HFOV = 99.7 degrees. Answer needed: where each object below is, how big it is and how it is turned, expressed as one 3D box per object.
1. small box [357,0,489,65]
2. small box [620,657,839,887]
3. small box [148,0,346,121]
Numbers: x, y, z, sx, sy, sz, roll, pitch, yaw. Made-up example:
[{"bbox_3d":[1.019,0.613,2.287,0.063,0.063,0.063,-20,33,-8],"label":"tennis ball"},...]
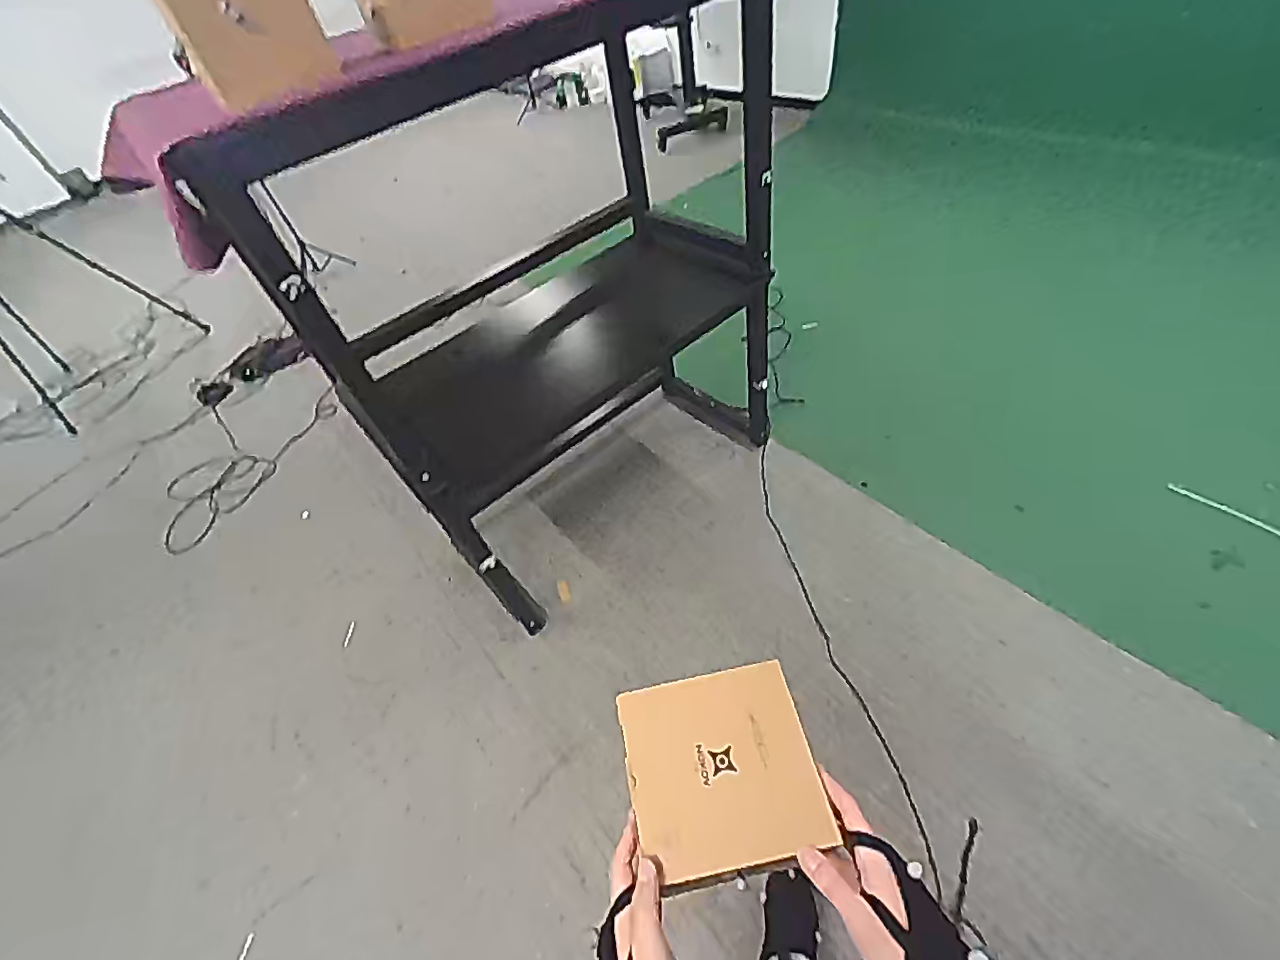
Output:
[{"bbox_3d":[-0.374,-0.821,0.898,0.179,0.176,0.168,-35,49,-17],"label":"small box"},{"bbox_3d":[0.084,0.310,0.569,0.179,0.176,0.168,-10,50,-1],"label":"small box"},{"bbox_3d":[-0.581,-0.658,0.800,0.179,0.176,0.168,-36,51,-18],"label":"small box"}]
